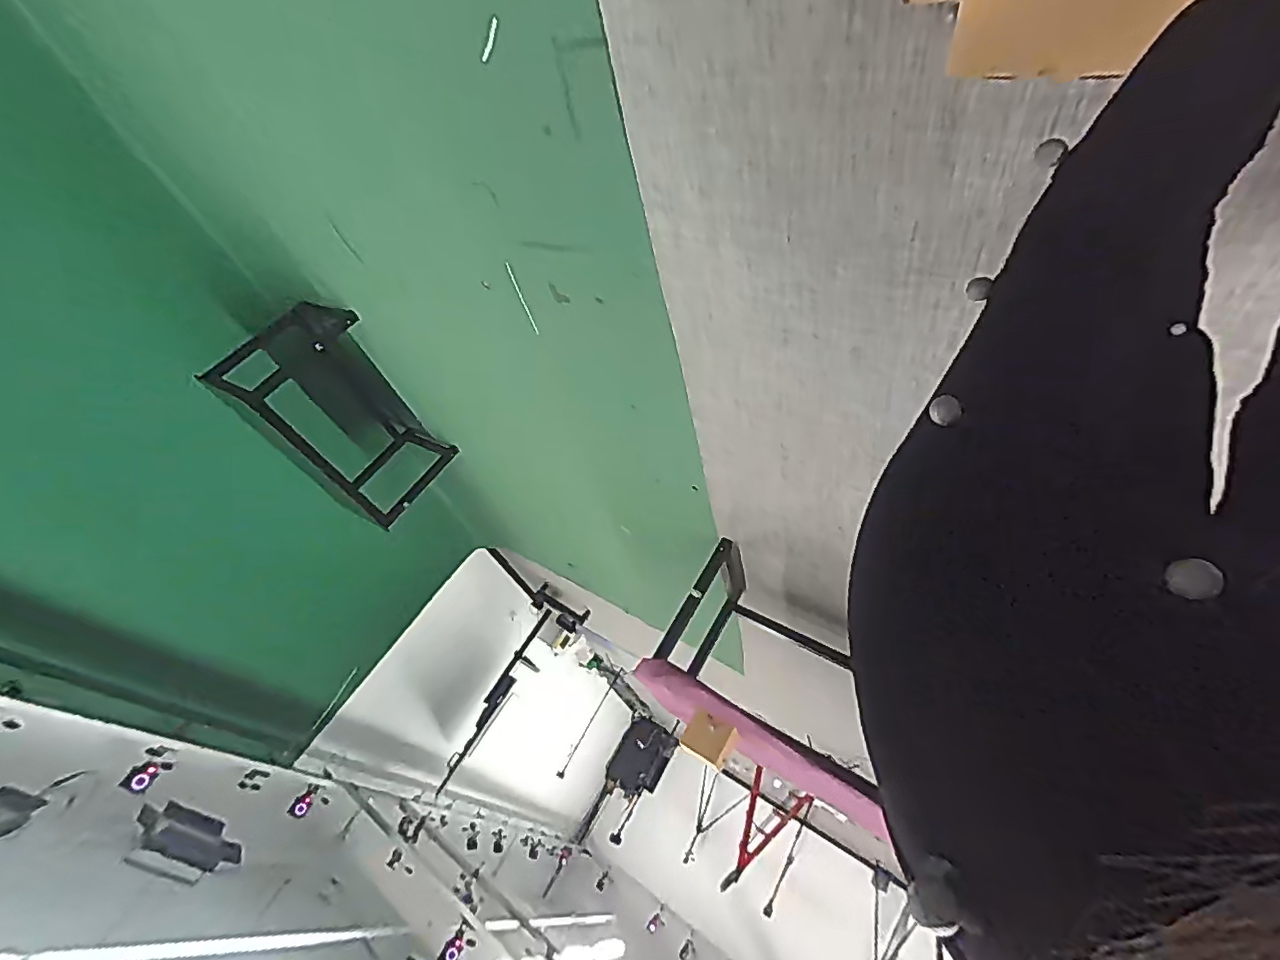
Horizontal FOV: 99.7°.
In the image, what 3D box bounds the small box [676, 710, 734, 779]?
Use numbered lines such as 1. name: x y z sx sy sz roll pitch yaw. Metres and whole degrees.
1. small box: 0.266 1.056 2.162 0.168 0.176 0.179 21 150 28
